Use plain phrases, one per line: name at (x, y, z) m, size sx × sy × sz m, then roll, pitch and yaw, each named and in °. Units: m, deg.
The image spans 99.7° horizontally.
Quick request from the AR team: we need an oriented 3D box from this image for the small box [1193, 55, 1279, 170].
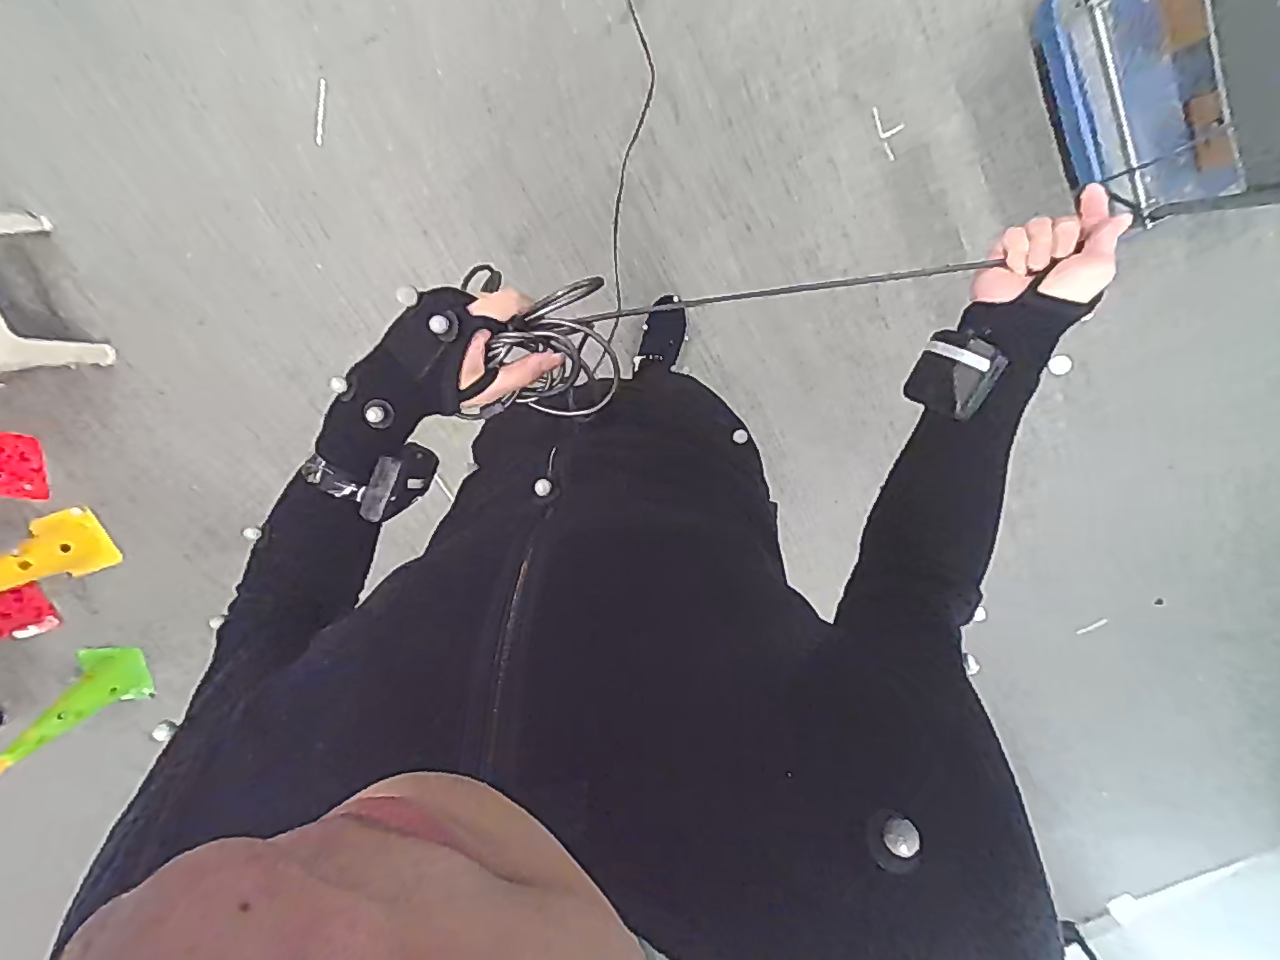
small box at (1.345, -0.792, 1.140) m, size 0.179 × 0.176 × 0.168 m, roll -28°, pitch 106°, yaw 9°
